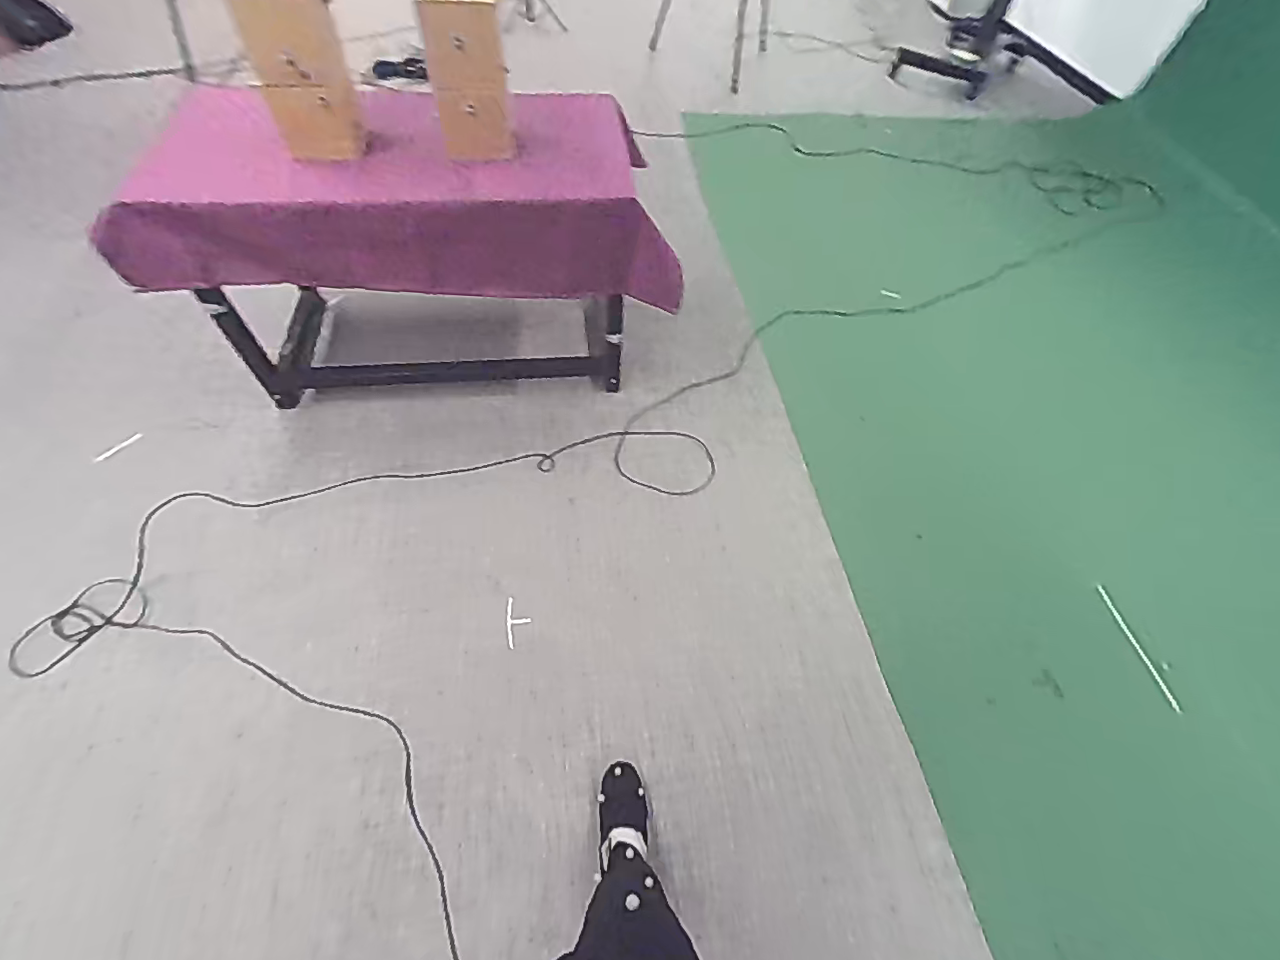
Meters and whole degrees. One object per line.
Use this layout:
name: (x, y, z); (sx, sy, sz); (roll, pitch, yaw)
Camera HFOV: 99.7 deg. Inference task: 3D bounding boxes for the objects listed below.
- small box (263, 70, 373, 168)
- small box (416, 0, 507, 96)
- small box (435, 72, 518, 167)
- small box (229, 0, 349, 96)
small box: (-0.810, -0.920, 1.379); (0.179, 0.176, 0.168); (-5, 56, -8)
small box: (-0.413, -1.040, 1.286); (0.179, 0.176, 0.168); (-5, 57, -7)
small box: (-0.422, -0.947, 1.421); (0.179, 0.176, 0.168); (-4, 57, -7)
small box: (-0.794, -1.018, 1.246); (0.168, 0.176, 0.179); (-6, 56, -8)
